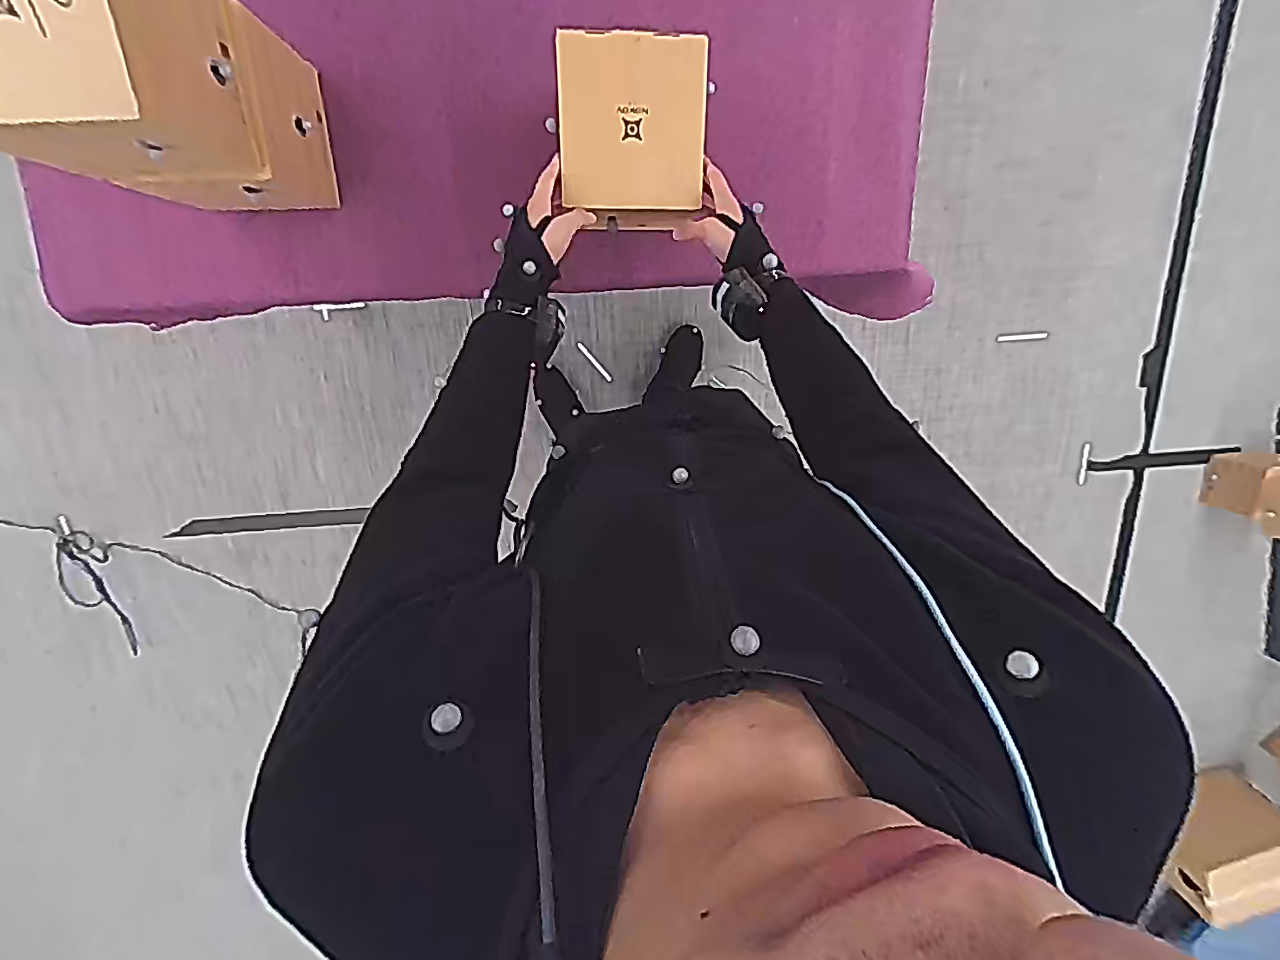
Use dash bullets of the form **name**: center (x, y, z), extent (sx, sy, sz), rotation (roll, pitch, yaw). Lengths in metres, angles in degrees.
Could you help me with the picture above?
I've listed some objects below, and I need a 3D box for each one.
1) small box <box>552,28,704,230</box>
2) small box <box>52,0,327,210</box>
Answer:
- **small box**: center (-0.017, -0.417, 0.675), extent (0.168, 0.176, 0.179), rotation (-1, 106, -4)
- **small box**: center (-0.498, -0.424, 0.637), extent (0.179, 0.176, 0.168), rotation (-3, 107, -4)
